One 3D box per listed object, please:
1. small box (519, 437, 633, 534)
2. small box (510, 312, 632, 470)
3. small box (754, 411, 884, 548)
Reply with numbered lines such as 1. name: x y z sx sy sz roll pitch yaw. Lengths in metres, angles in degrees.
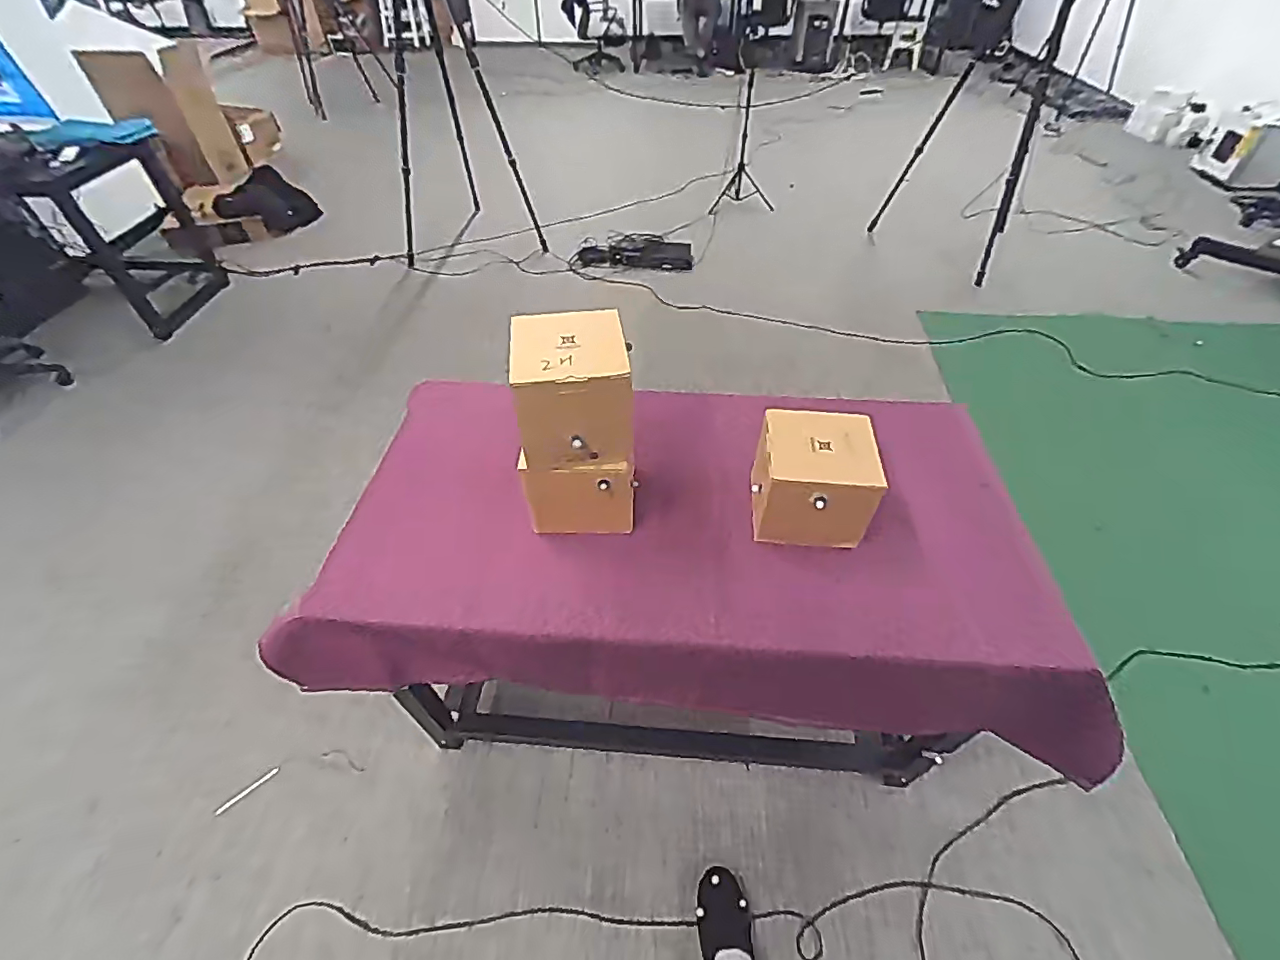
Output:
1. small box: -0.102 -0.018 0.955 0.179 0.176 0.168 0 47 0
2. small box: -0.103 -0.138 0.841 0.168 0.176 0.179 -6 48 -5
3. small box: 0.293 0.001 0.929 0.179 0.176 0.168 5 48 4
